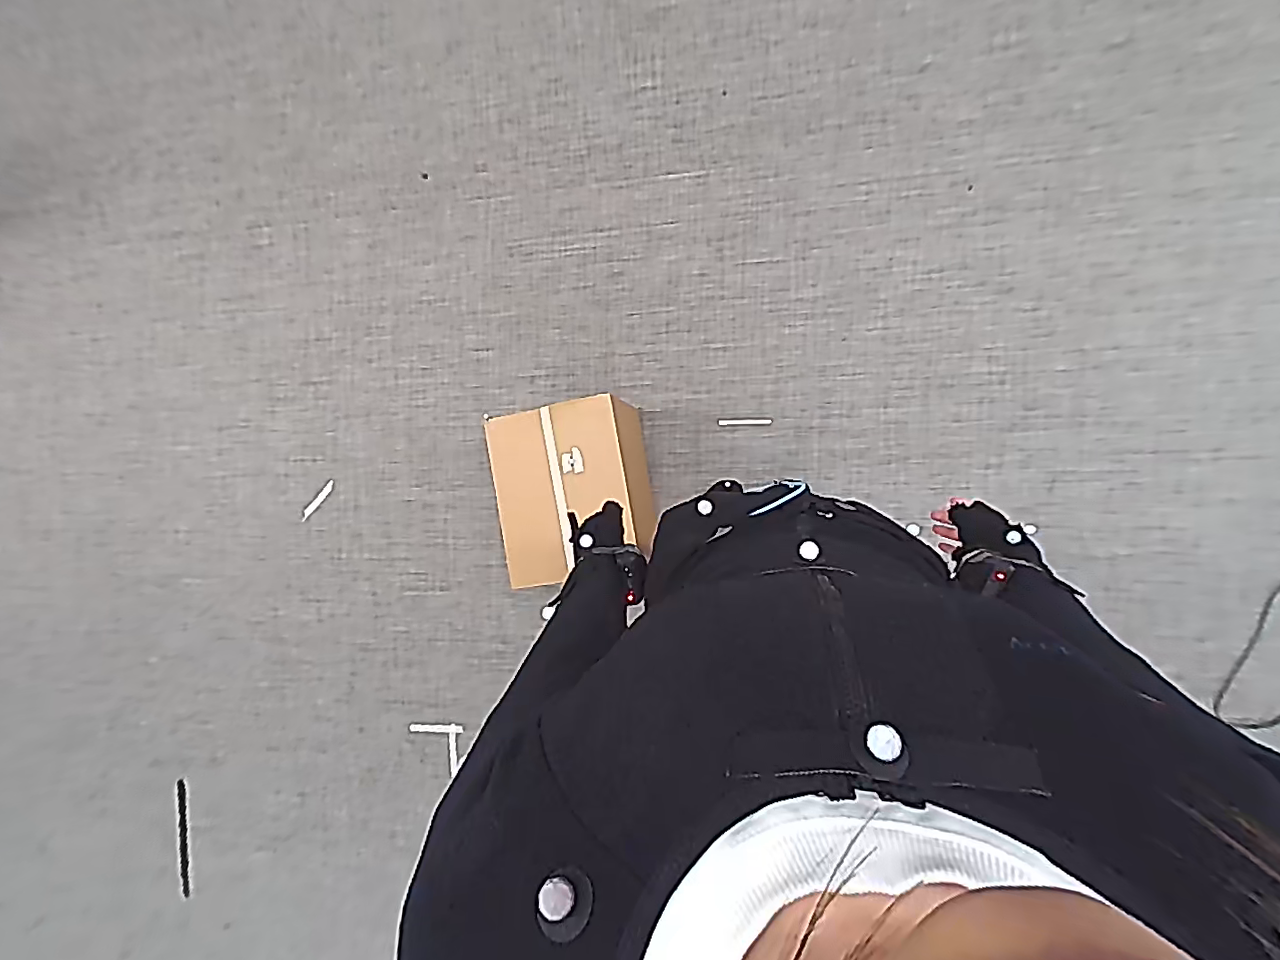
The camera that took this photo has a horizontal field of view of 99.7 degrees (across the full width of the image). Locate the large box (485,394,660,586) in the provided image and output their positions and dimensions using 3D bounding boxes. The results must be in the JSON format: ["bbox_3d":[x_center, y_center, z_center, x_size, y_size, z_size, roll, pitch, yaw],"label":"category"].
[{"bbox_3d":[-0.153,0.029,1.382,0.320,0.320,0.408,-10,87,10],"label":"large box"}]
